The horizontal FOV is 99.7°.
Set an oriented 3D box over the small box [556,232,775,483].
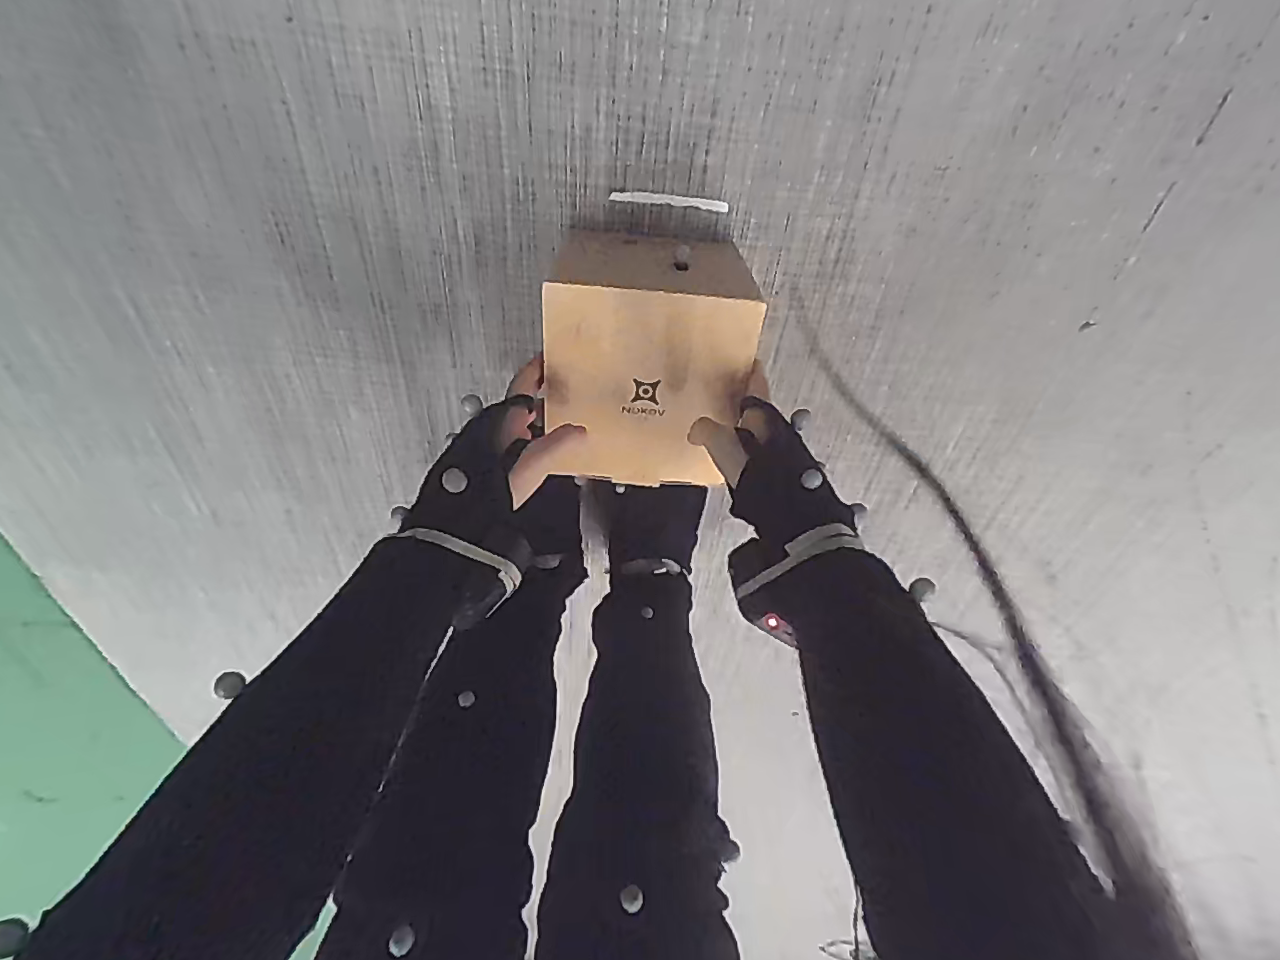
[{"bbox_3d":[0.013,-0.120,0.515,0.168,0.176,0.179,5,129,-4],"label":"small box"}]
